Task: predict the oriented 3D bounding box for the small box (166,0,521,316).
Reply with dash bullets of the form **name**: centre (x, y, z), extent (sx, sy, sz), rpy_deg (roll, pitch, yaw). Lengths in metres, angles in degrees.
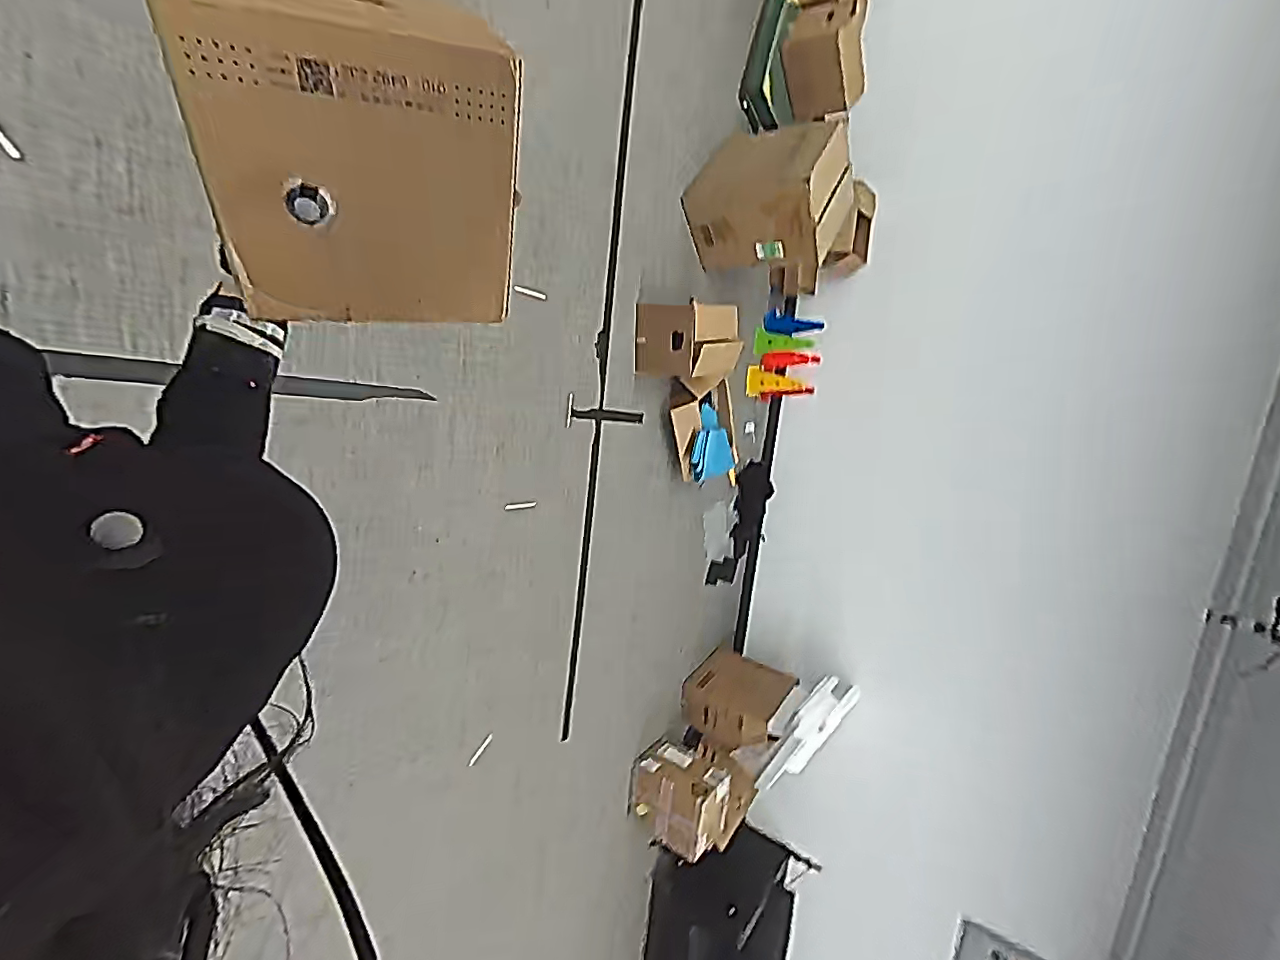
- **small box**: centre (-0.181, -0.230, 0.363), extent (0.168, 0.179, 0.176), rpy_deg (-7, 139, -25)
